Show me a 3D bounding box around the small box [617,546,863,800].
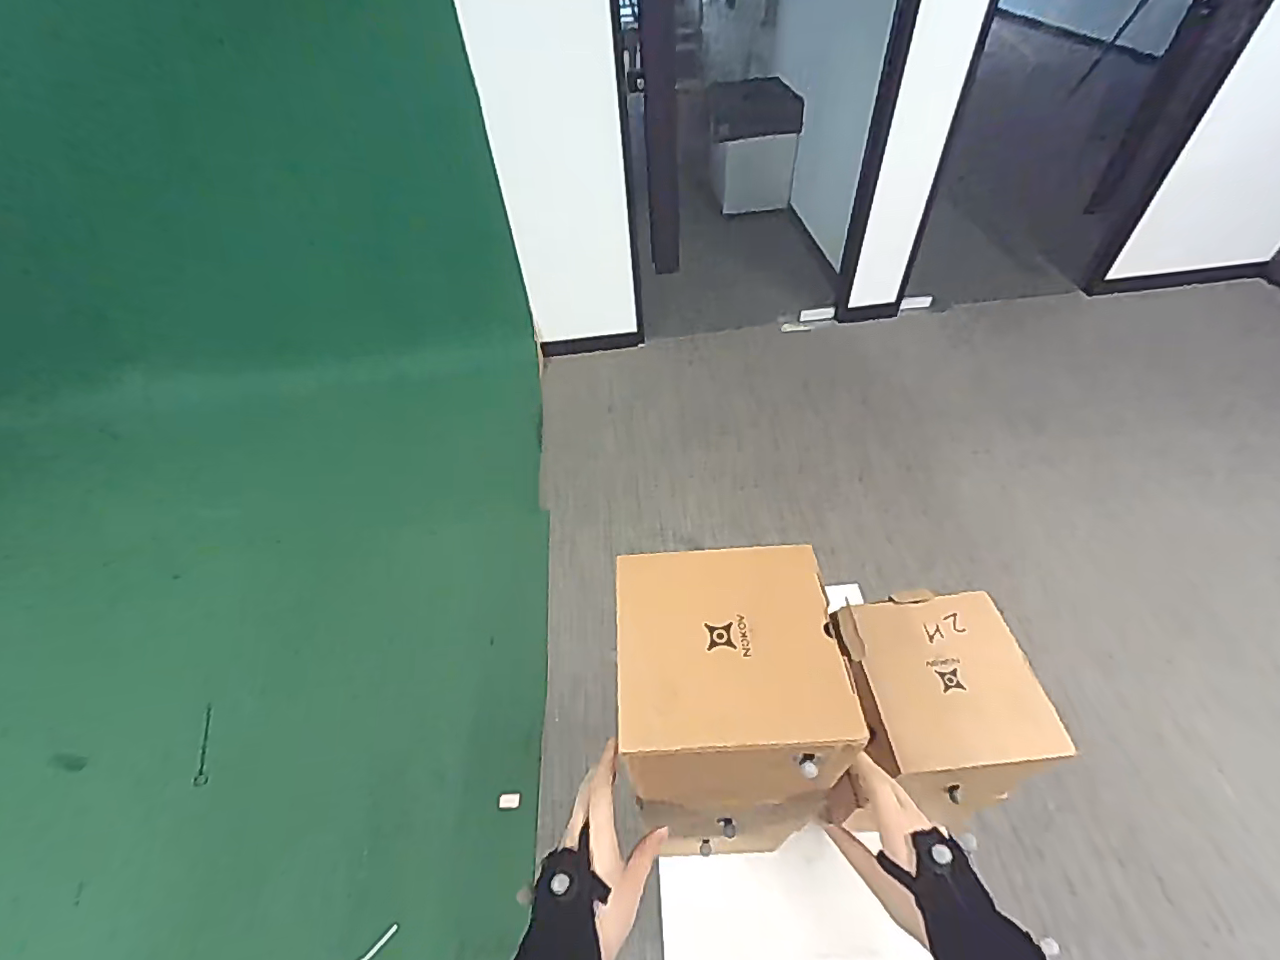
[{"bbox_3d":[0.074,0.178,0.492,0.179,0.176,0.168,-3,48,0],"label":"small box"}]

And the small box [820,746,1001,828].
[{"bbox_3d":[0.338,0.366,0.741,0.179,0.176,0.168,-4,49,1],"label":"small box"}]

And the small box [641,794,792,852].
[{"bbox_3d":[0.092,0.395,0.736,0.179,0.176,0.168,-3,49,1],"label":"small box"}]

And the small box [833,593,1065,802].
[{"bbox_3d":[0.320,0.255,0.621,0.168,0.176,0.179,-6,48,0],"label":"small box"}]
